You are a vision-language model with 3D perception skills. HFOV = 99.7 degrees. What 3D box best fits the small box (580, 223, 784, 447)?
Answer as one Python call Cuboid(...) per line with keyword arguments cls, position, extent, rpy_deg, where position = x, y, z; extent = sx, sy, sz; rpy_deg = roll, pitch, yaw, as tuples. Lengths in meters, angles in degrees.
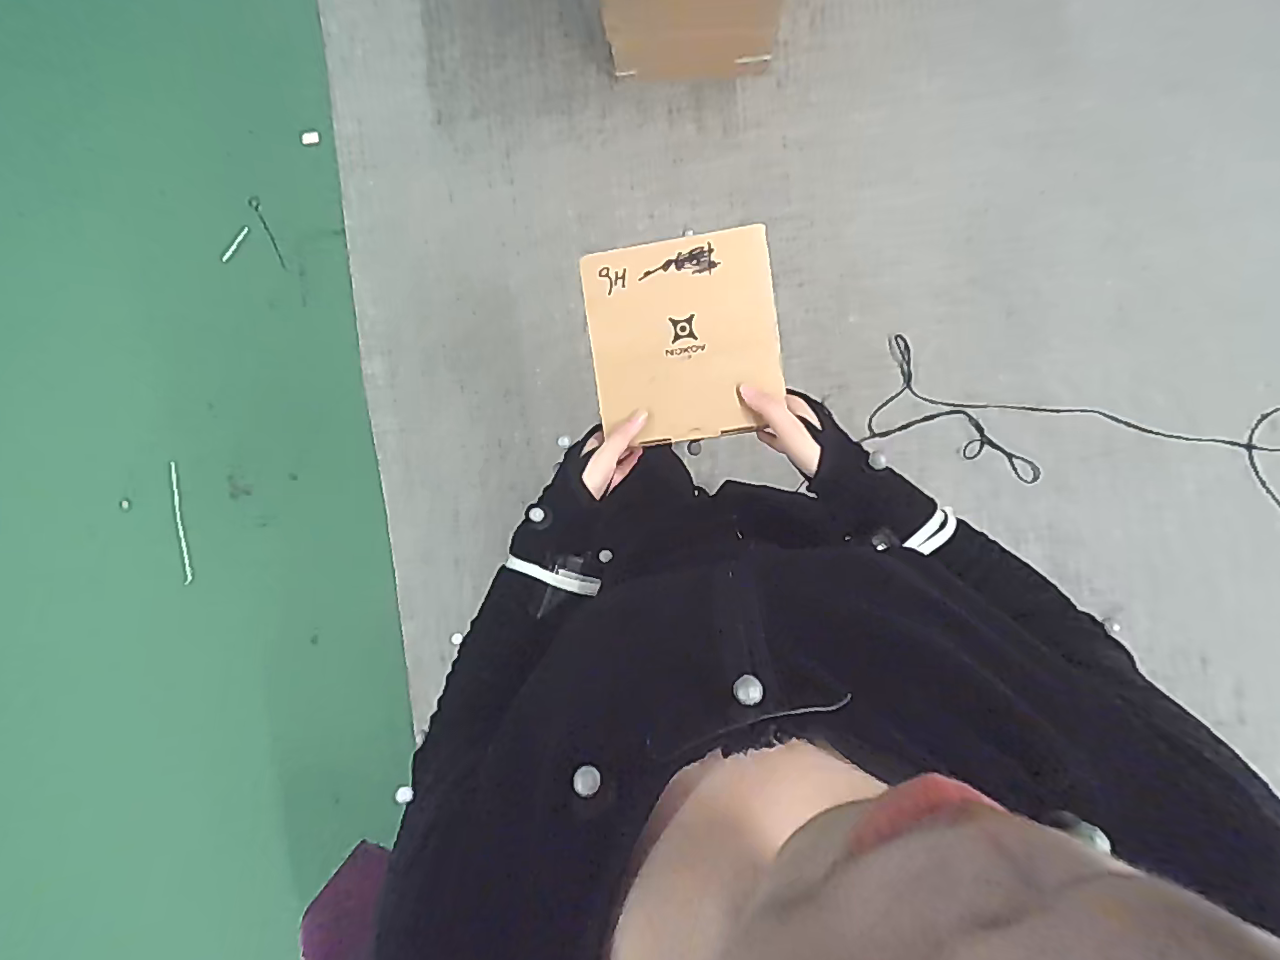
Cuboid(cls="small box", position=(0.044, -0.133, 0.556), extent=(0.168, 0.176, 0.179), rpy_deg=(-8, 94, 5))
